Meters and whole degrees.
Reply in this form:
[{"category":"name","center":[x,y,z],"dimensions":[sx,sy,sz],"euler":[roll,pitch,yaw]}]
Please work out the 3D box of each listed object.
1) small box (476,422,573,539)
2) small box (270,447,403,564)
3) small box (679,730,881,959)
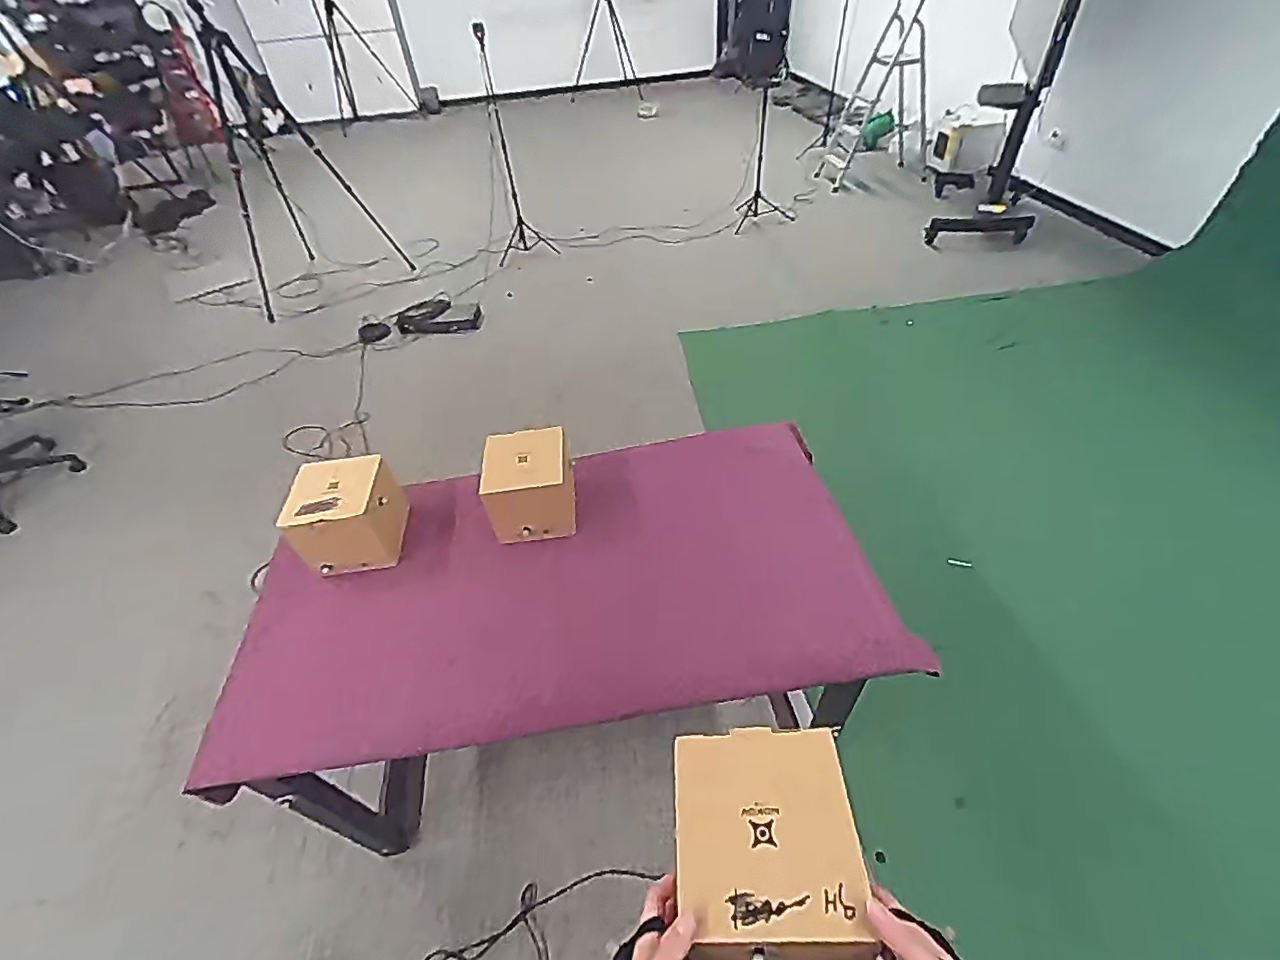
[{"category":"small box","center":[-0.236,0.001,1.145],"dimensions":[0.168,0.176,0.179],"euler":[-7,48,-2]},{"category":"small box","center":[-0.607,0.059,1.109],"dimensions":[0.168,0.176,0.179],"euler":[-7,47,-4]},{"category":"small box","center":[0.131,0.384,0.557],"dimensions":[0.168,0.176,0.179],"euler":[-7,39,8]}]
